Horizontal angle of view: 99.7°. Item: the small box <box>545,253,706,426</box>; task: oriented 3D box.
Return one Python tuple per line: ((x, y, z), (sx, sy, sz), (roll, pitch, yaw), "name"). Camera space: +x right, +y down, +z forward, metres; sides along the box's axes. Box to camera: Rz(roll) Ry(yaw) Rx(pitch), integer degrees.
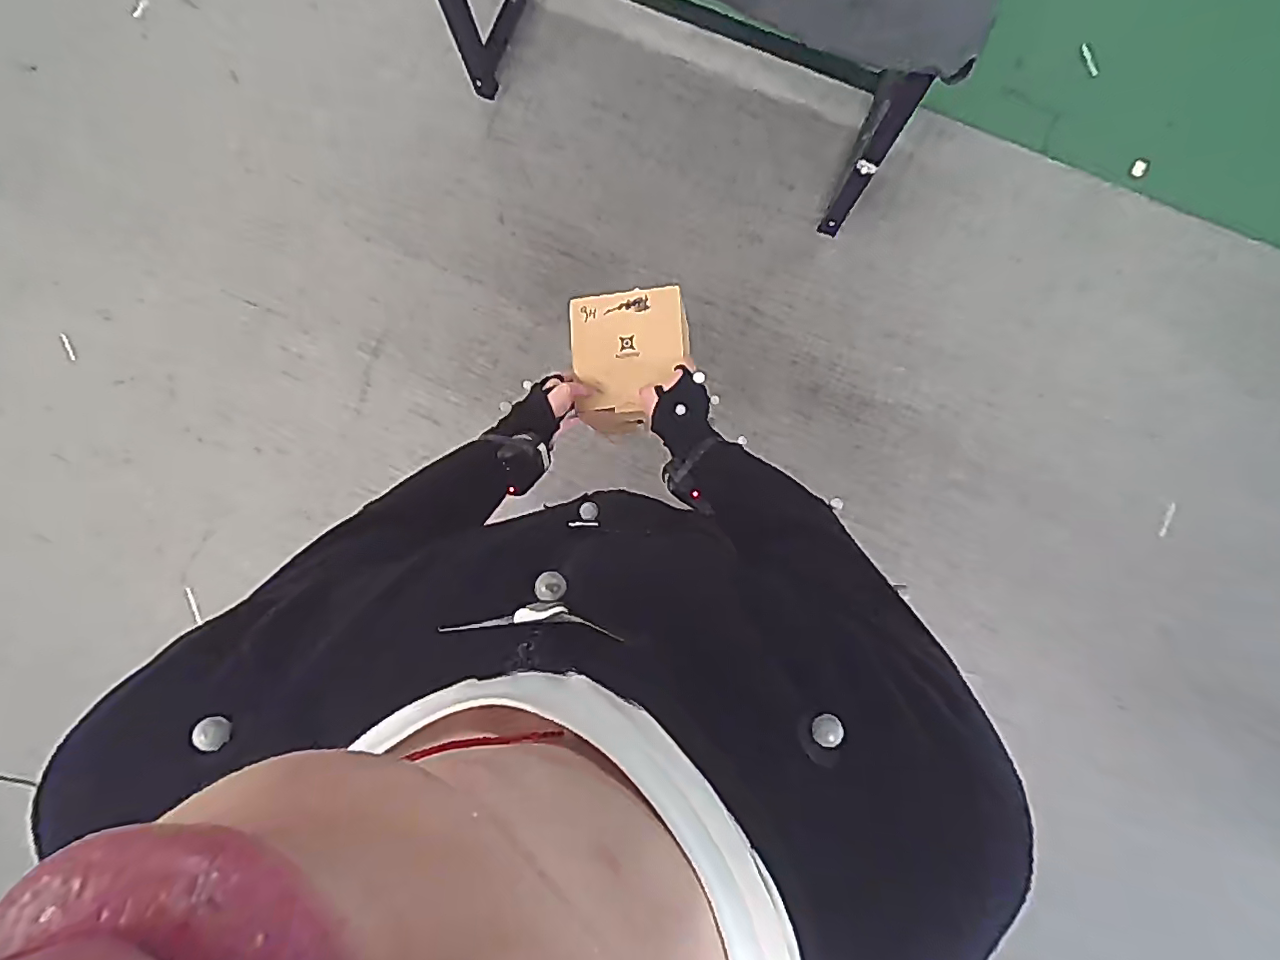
((-0.013, -0.207, 0.852), (0.179, 0.176, 0.168), (-34, 78, 6), "small box")
